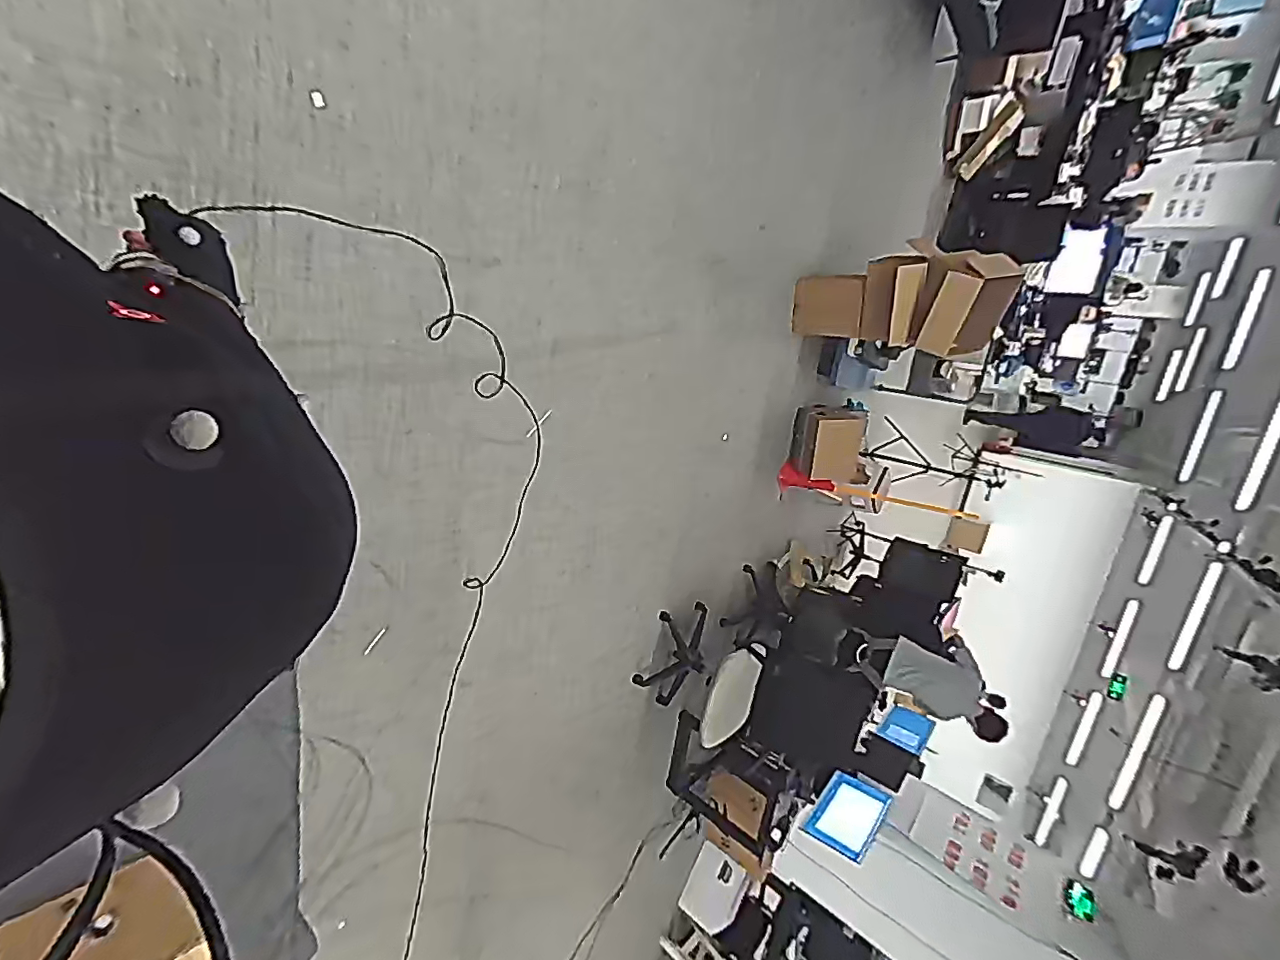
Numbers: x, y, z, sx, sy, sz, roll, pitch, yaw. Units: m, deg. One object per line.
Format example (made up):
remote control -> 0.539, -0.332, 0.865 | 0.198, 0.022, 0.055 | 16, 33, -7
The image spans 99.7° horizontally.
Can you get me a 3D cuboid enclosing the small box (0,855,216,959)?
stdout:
small box -> -0.618, 0.589, 0.632 | 0.168, 0.176, 0.179 | -9, 112, -49
